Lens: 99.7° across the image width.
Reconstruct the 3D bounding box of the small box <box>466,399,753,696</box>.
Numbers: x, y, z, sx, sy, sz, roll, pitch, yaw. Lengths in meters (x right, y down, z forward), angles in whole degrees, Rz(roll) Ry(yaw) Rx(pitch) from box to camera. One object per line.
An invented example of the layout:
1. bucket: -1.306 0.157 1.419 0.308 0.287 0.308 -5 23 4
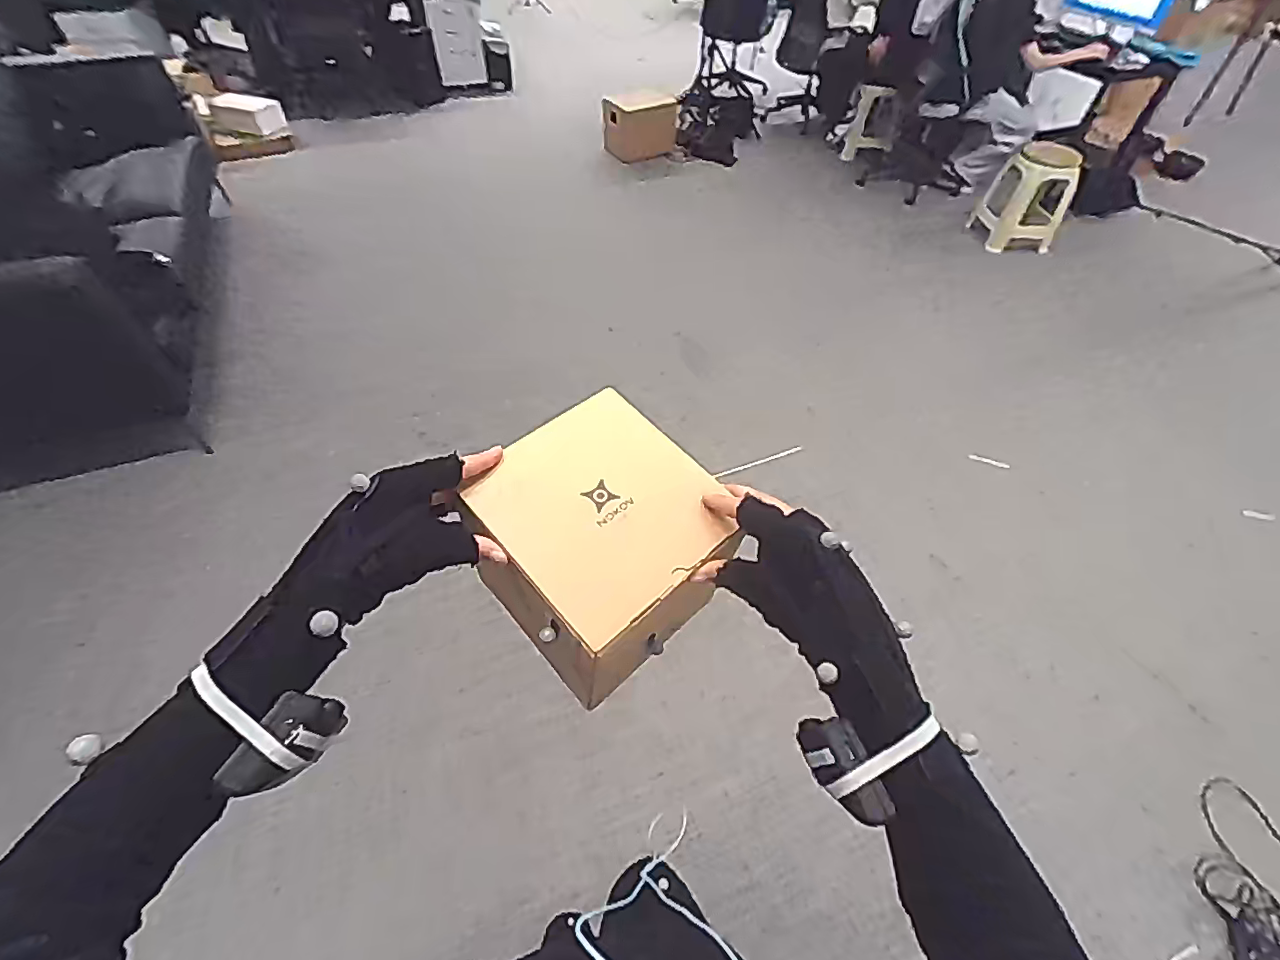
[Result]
1. small box: -0.033 0.065 0.494 0.168 0.176 0.179 -35 67 -27
